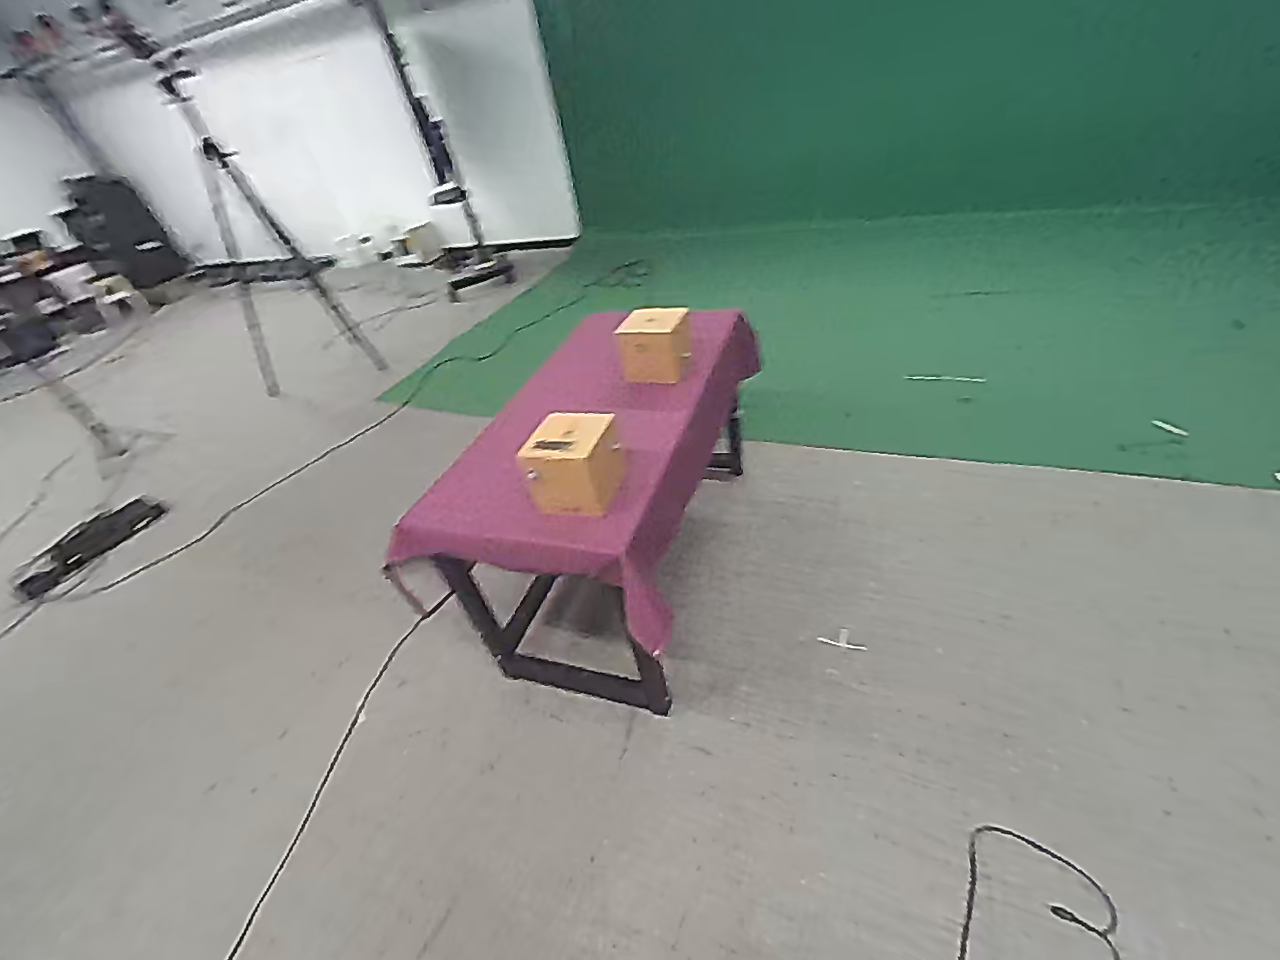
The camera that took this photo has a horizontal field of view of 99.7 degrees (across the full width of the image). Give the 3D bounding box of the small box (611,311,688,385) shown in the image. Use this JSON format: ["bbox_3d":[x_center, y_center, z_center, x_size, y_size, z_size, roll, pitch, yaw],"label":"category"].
[{"bbox_3d":[0.036,-0.402,1.651,0.179,0.176,0.168,7,43,23],"label":"small box"}]
